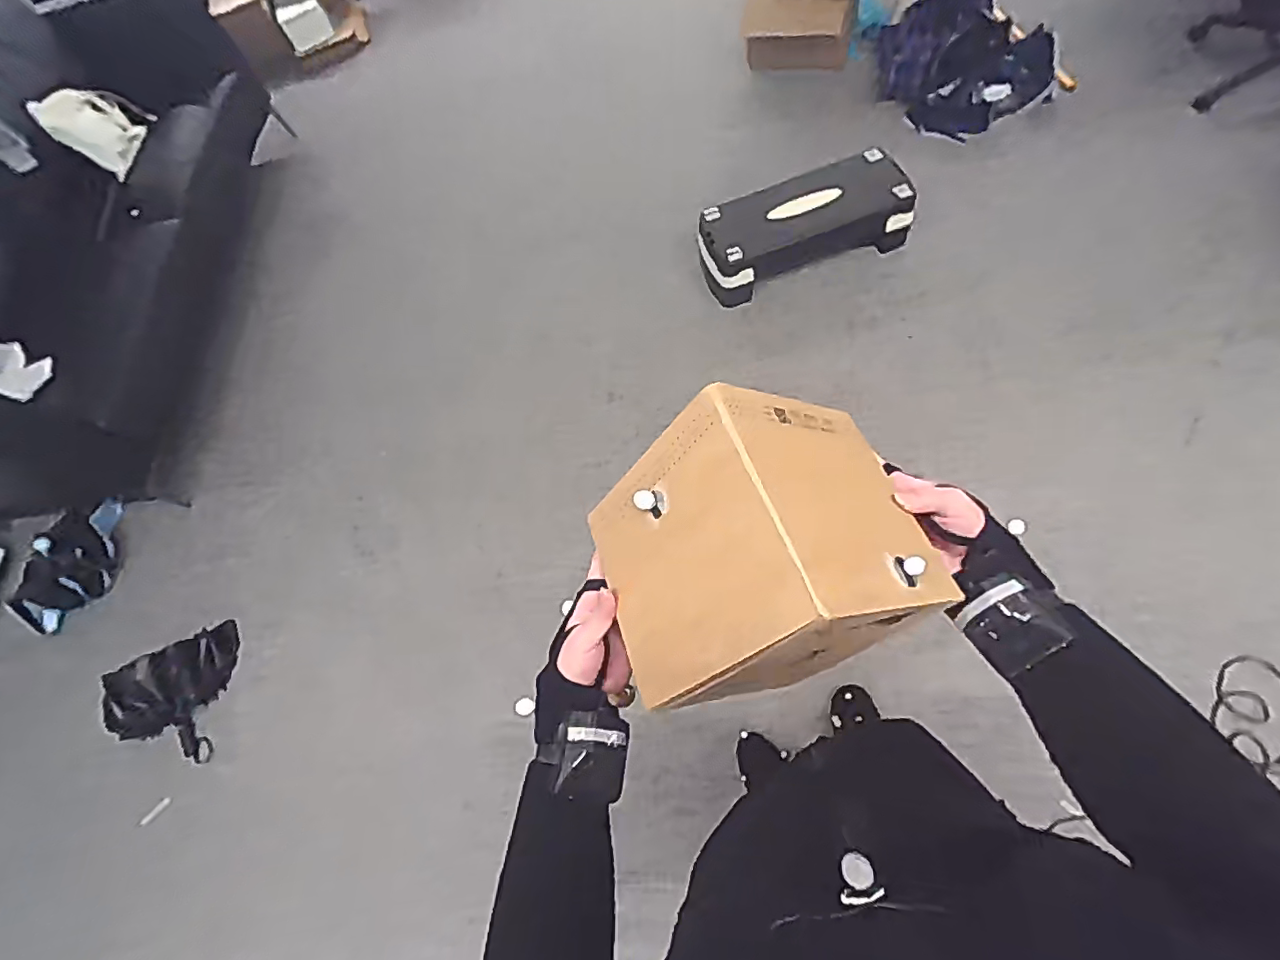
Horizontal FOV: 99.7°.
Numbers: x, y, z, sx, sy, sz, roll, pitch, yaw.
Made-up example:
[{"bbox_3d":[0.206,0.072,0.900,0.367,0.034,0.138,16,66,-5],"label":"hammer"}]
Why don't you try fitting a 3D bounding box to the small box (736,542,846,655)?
[{"bbox_3d":[0.335,0.275,1.233,0.179,0.176,0.168,-43,66,-8],"label":"small box"}]
